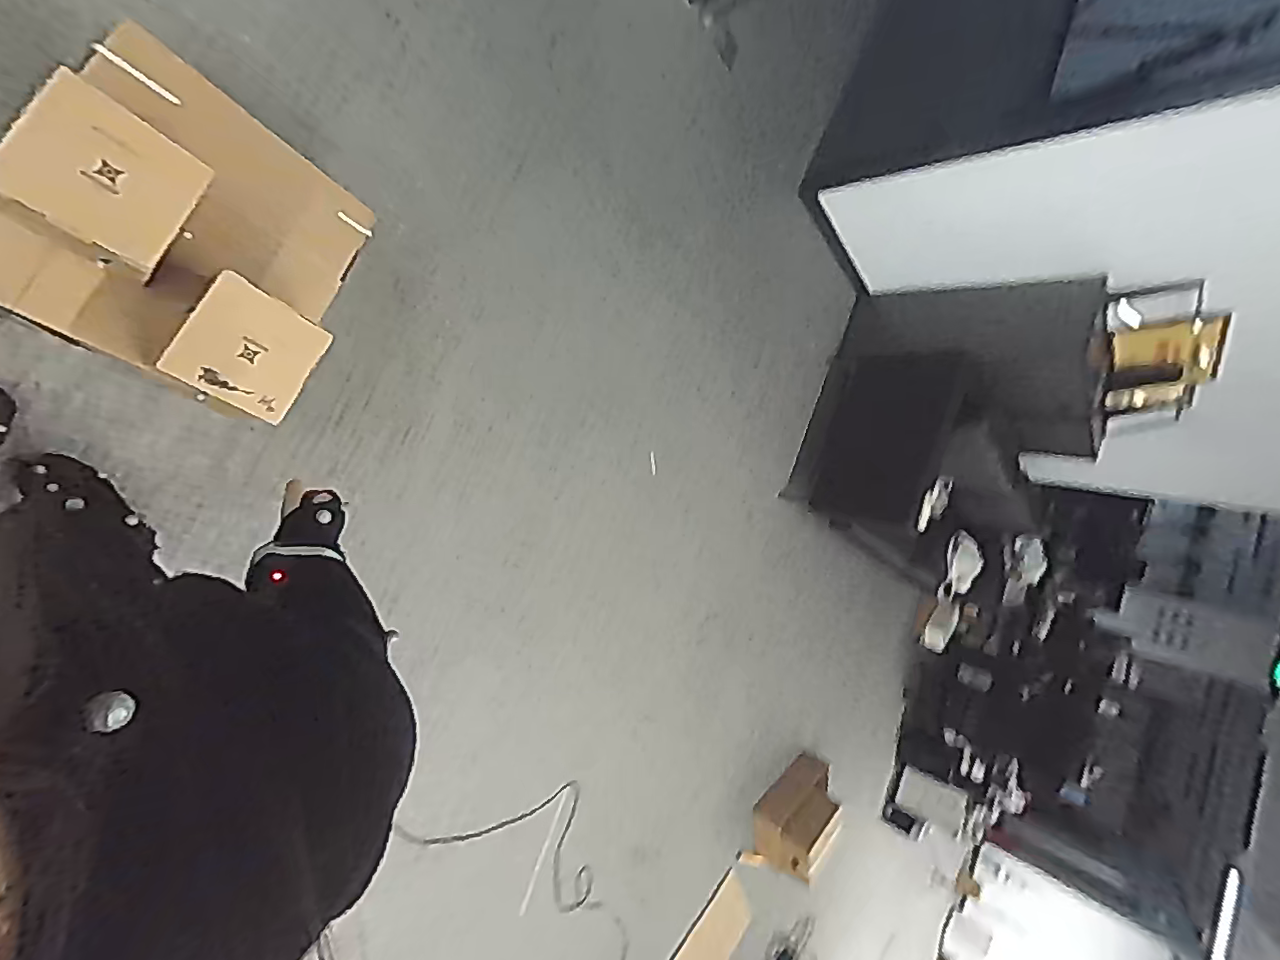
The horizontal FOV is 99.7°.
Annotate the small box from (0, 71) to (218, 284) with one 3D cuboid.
[{"bbox_3d":[-0.729,-0.396,0.745,0.168,0.176,0.179,34,73,-43],"label":"small box"}]

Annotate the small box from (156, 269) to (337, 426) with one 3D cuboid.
[{"bbox_3d":[-0.636,-0.207,0.871,0.168,0.176,0.179,37,71,-43],"label":"small box"}]
